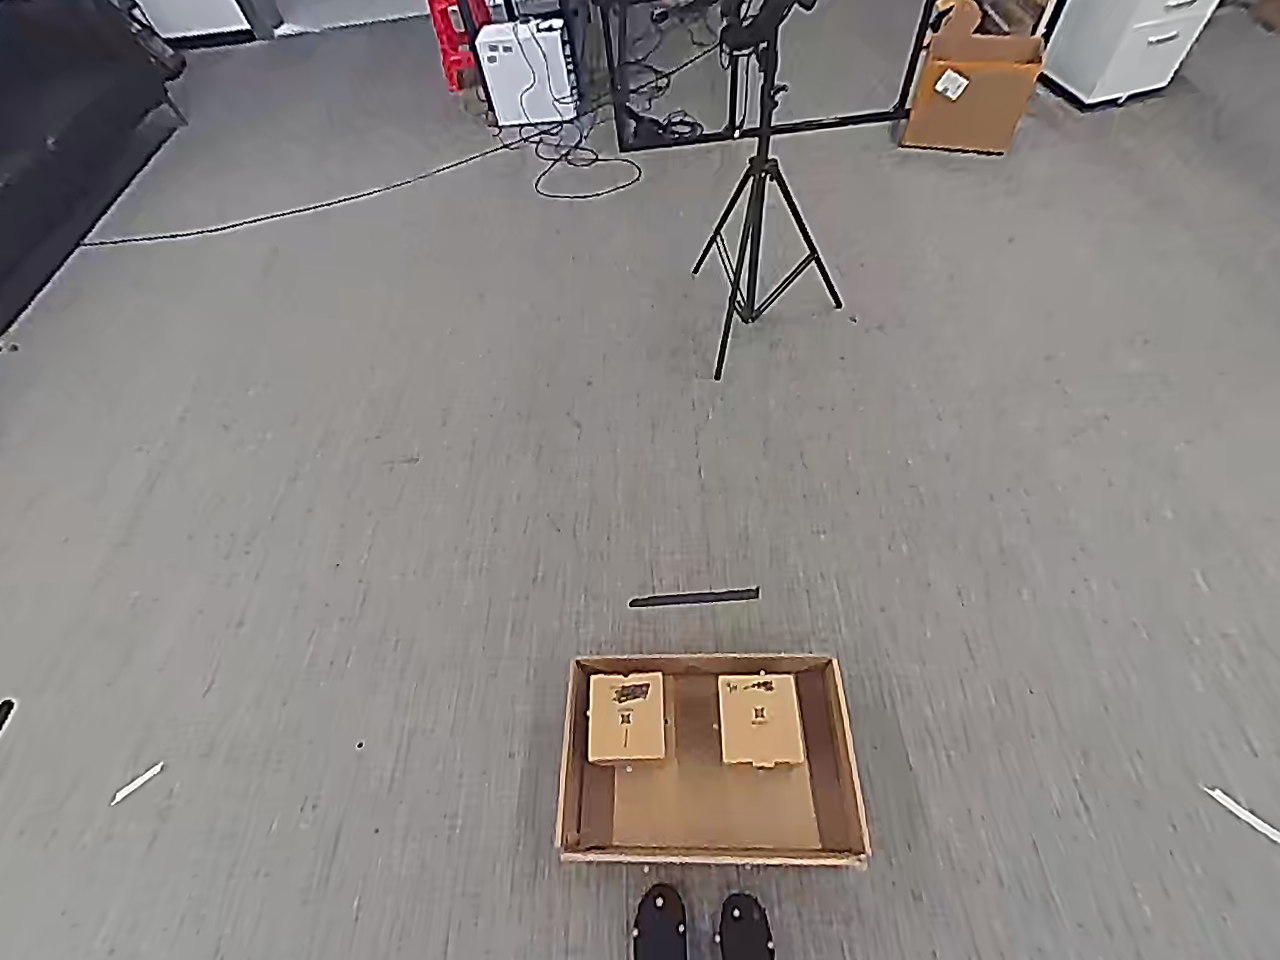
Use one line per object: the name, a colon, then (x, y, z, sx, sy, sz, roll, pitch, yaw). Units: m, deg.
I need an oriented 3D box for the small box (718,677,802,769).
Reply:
small box: (0.261, 0.547, 1.210, 0.168, 0.176, 0.179, -2, 59, 6)
